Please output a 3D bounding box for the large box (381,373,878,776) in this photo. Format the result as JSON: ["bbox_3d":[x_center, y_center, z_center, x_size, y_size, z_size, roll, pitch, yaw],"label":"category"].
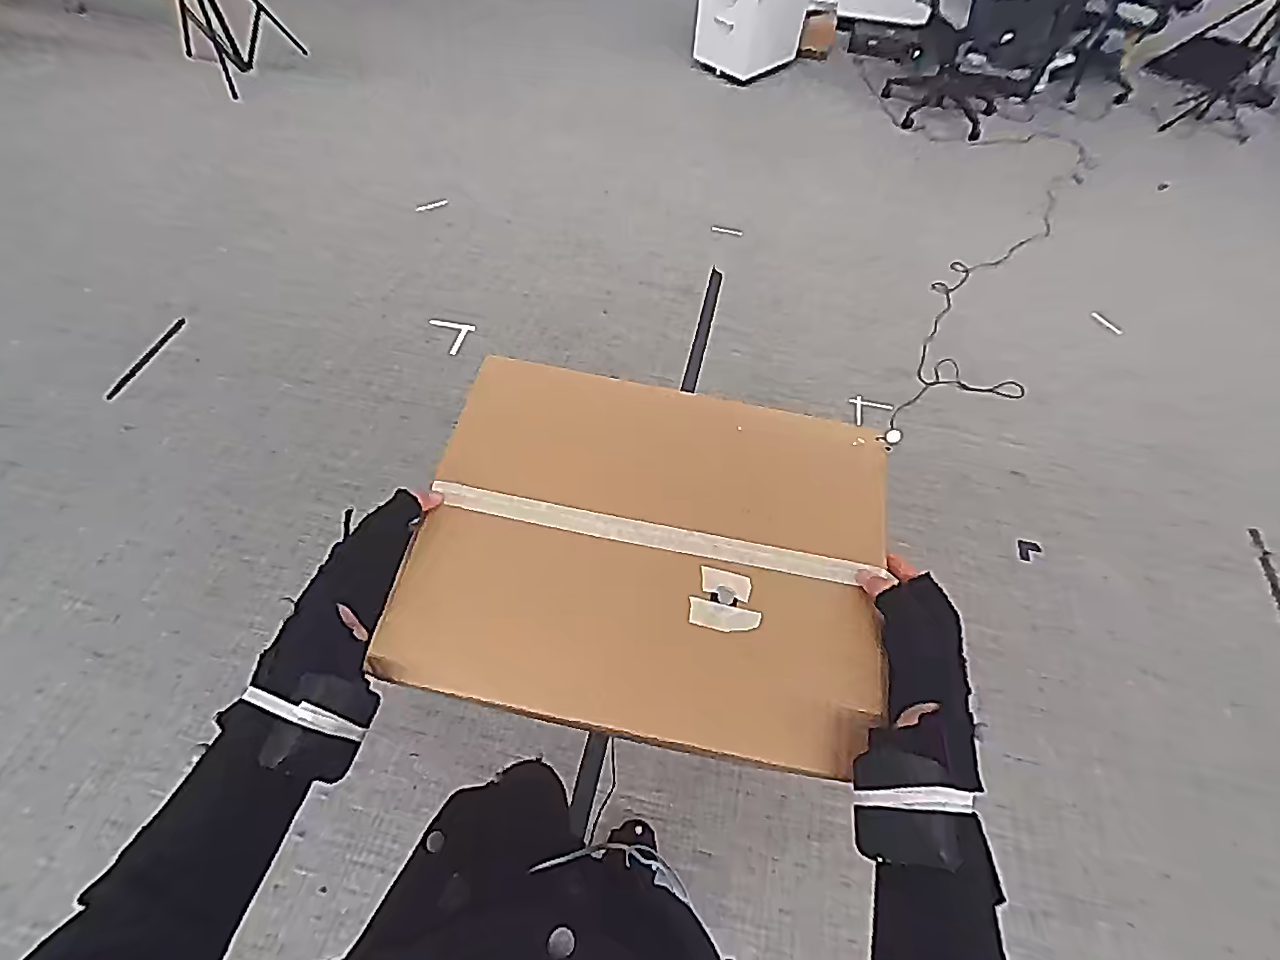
[{"bbox_3d":[0.004,0.123,0.618,0.408,0.320,0.320,11,65,1],"label":"large box"}]
